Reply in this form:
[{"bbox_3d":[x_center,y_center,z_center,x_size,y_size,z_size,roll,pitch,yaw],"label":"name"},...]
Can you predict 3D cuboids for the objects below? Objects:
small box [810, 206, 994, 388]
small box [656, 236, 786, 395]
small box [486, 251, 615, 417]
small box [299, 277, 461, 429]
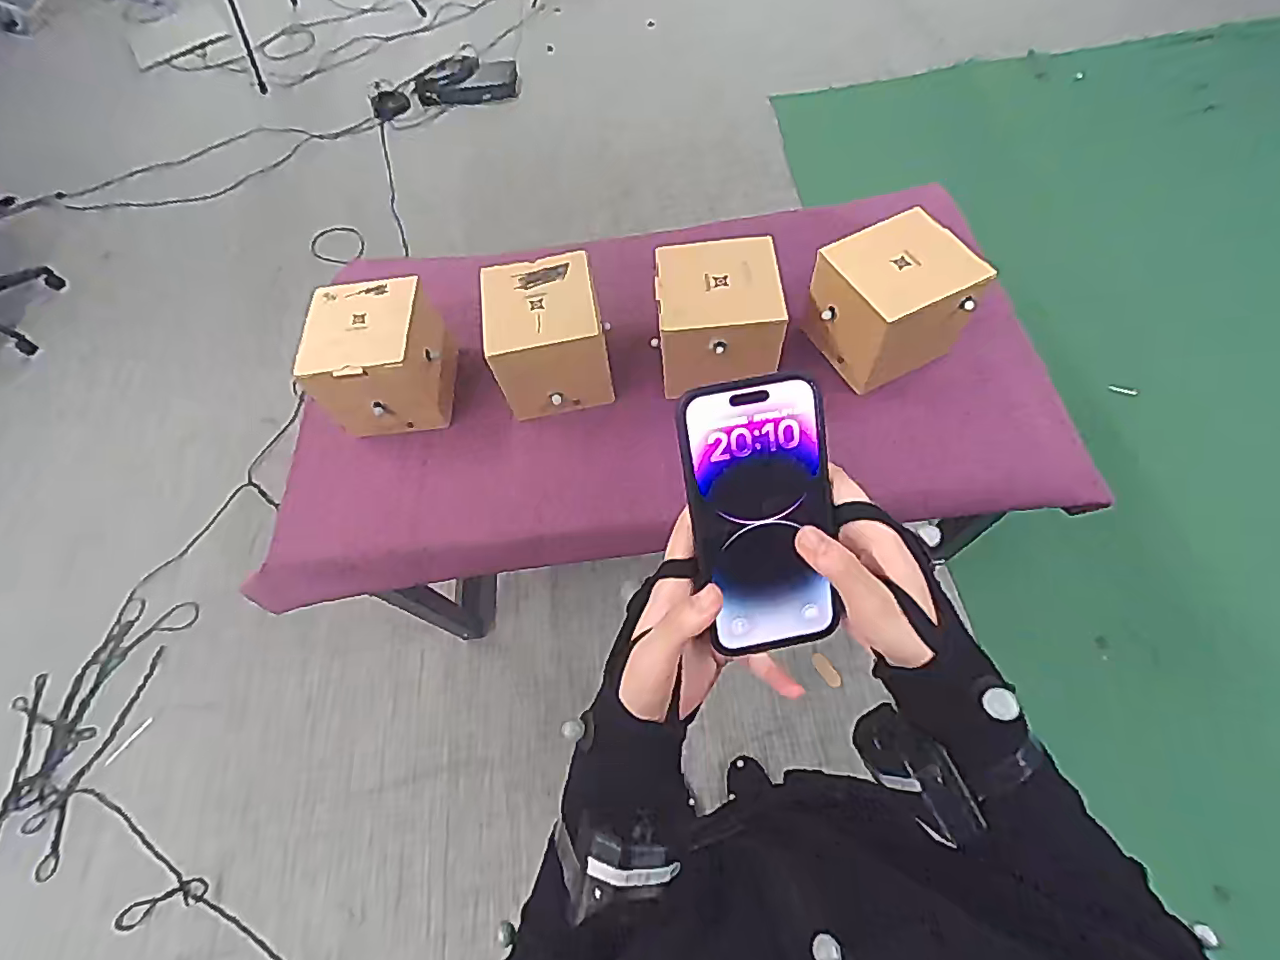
[{"bbox_3d":[0.377,-0.270,0.824,0.179,0.176,0.168,-25,62,-6],"label":"small box"},{"bbox_3d":[0.120,-0.247,0.843,0.179,0.176,0.168,-4,63,4],"label":"small box"},{"bbox_3d":[-0.138,-0.226,0.860,0.168,0.176,0.179,-11,63,1],"label":"small box"},{"bbox_3d":[-0.404,-0.194,0.875,0.168,0.176,0.179,-6,63,4],"label":"small box"}]
